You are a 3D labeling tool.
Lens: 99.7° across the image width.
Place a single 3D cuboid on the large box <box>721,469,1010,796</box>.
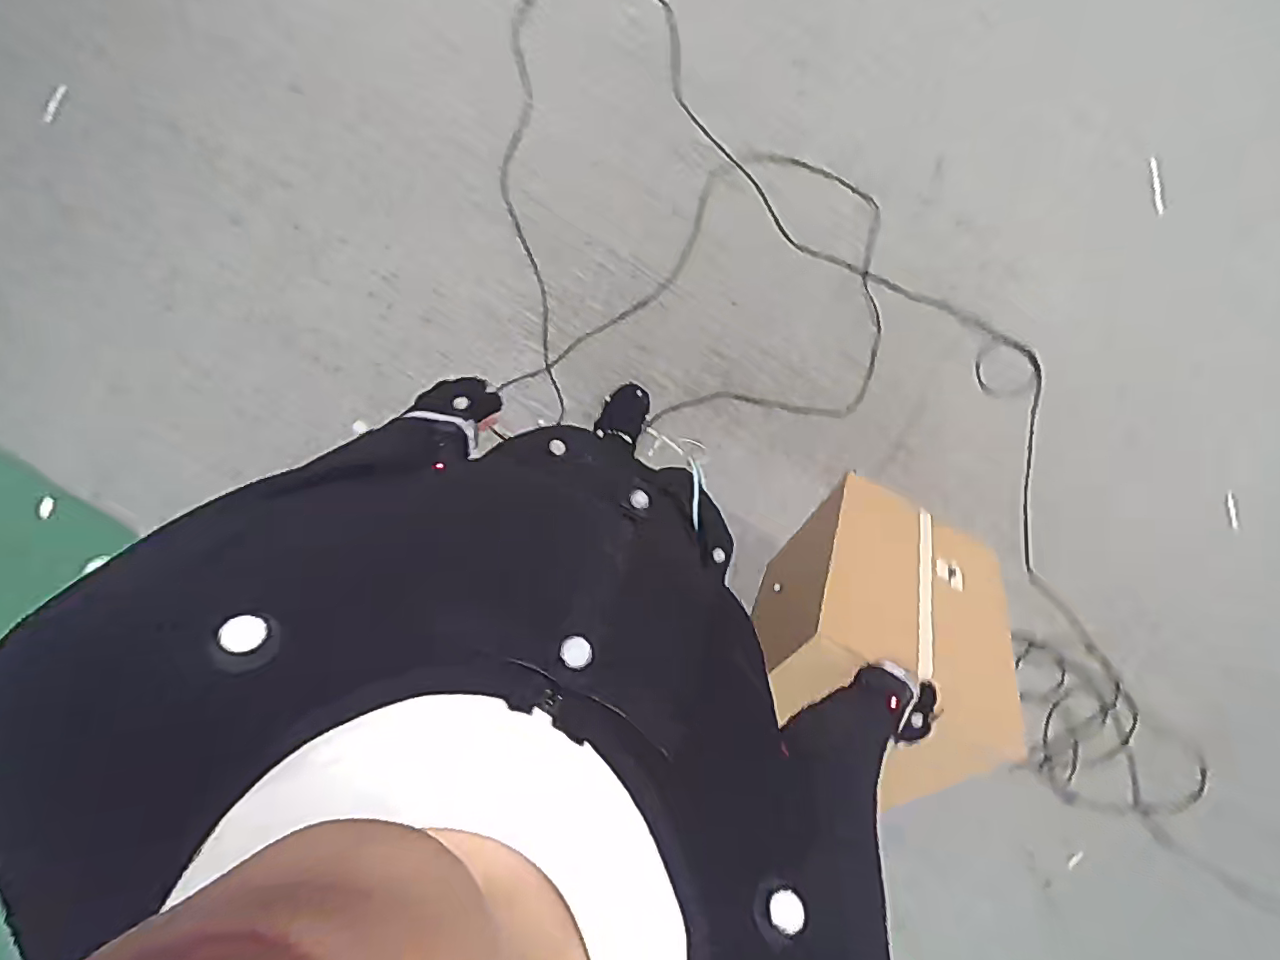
[{"bbox_3d":[0.389,0.262,0.976,0.320,0.408,0.320,32,132,3],"label":"large box"}]
